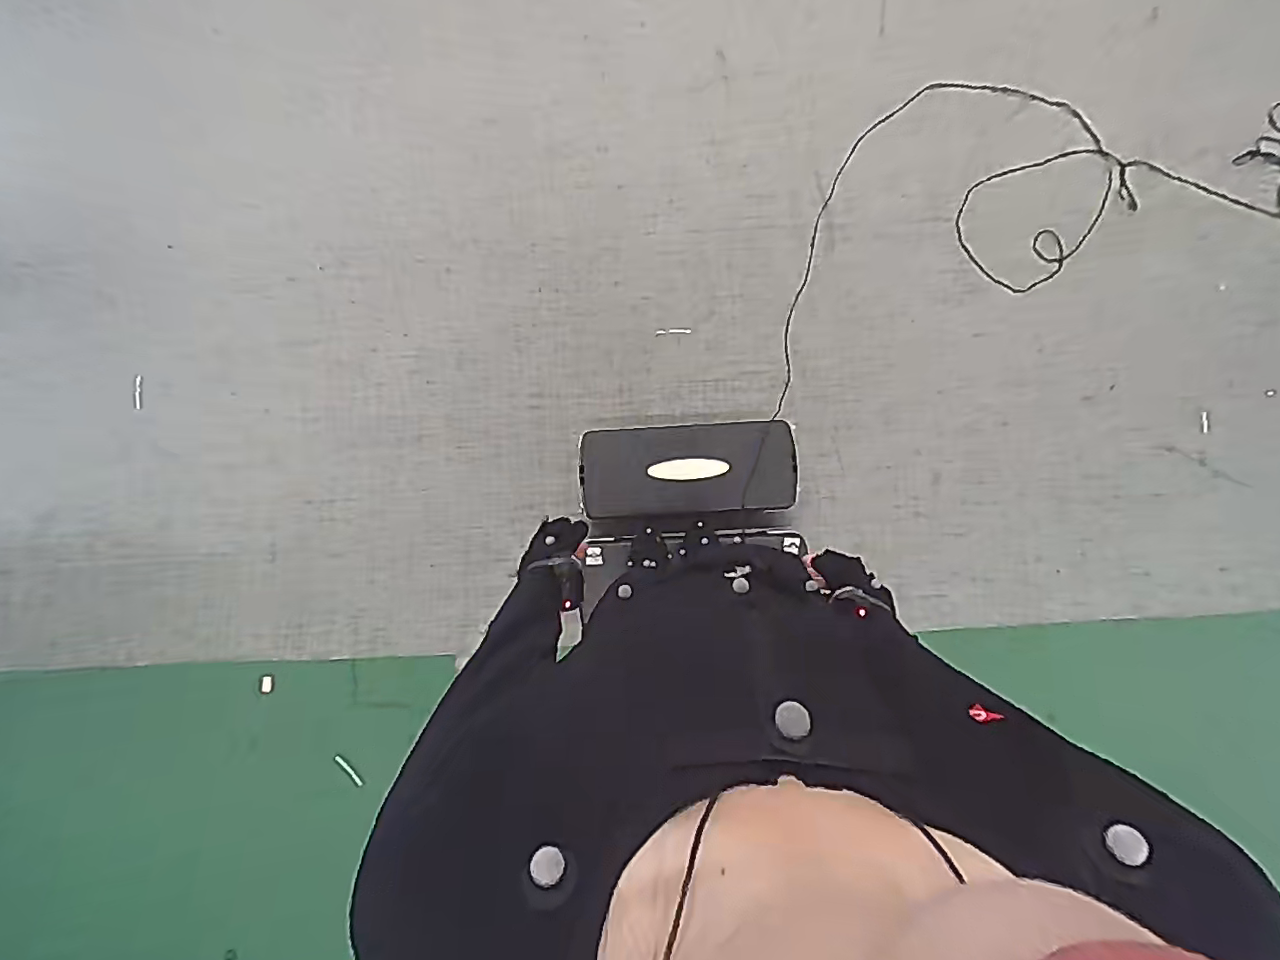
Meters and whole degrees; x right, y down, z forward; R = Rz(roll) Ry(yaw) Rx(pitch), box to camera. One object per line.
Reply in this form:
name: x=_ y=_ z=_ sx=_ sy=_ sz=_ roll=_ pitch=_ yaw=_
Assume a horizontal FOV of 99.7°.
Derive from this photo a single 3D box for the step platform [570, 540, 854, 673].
step platform: x=0.171 y=0.312 z=1.387 sx=0.684 sy=0.204 sz=0.286 roll=-3 pitch=85 yaw=-1
